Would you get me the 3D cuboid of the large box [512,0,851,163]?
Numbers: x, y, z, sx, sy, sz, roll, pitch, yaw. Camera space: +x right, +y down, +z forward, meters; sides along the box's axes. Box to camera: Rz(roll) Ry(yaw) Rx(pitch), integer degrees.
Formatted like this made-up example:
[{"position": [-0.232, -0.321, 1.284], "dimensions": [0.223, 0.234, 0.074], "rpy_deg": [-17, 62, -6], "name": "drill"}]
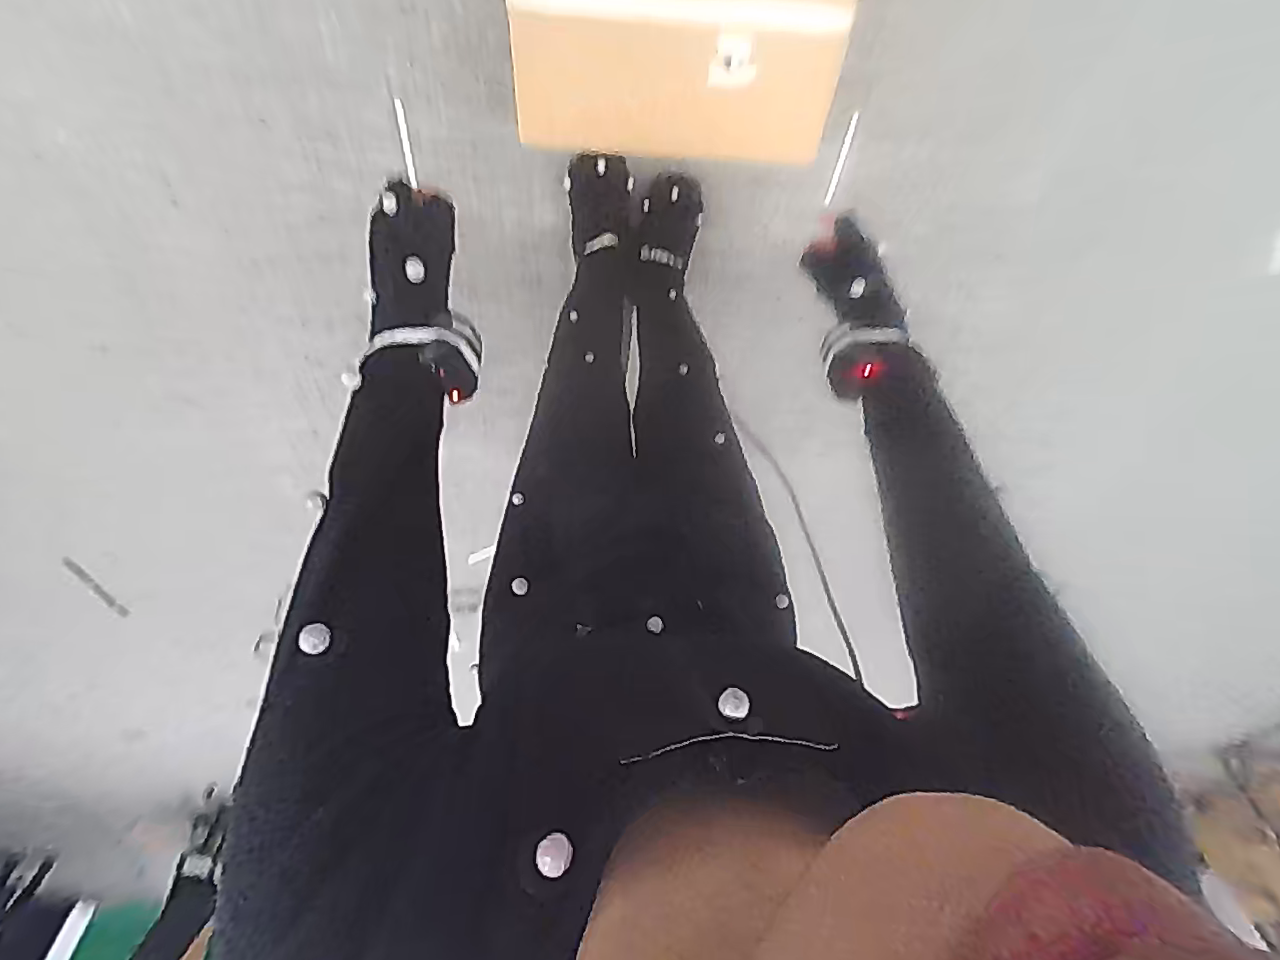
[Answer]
[{"position": [0.041, -0.657, 0.738], "dimensions": [0.408, 0.320, 0.320], "rpy_deg": [0, 137, -5], "name": "large box"}]
